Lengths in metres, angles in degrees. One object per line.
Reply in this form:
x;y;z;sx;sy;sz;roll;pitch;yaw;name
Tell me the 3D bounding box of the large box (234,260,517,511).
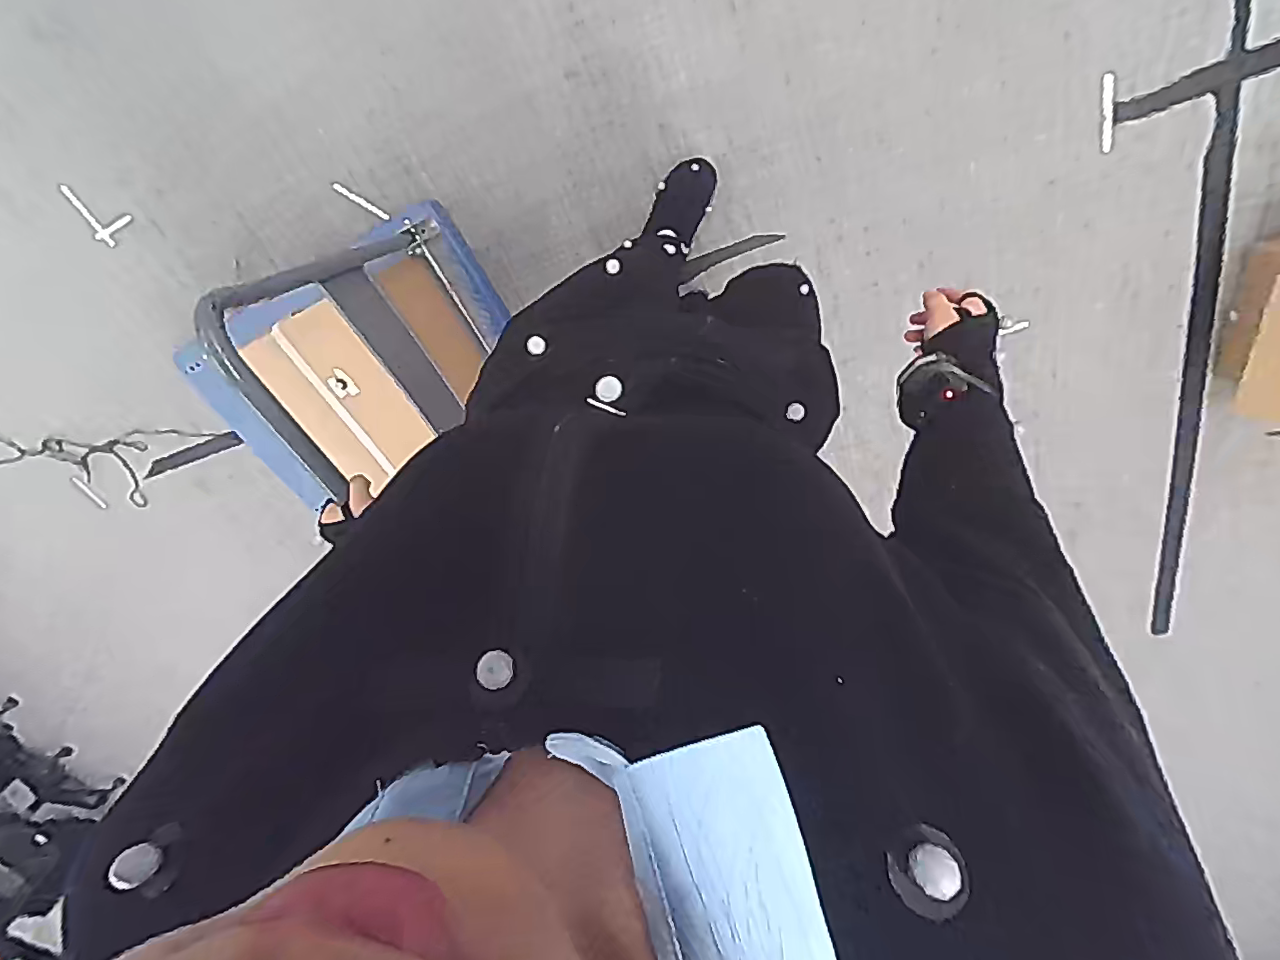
-0.544;-0.207;1.200;0.320;0.320;0.408;-20;118;19;large box
